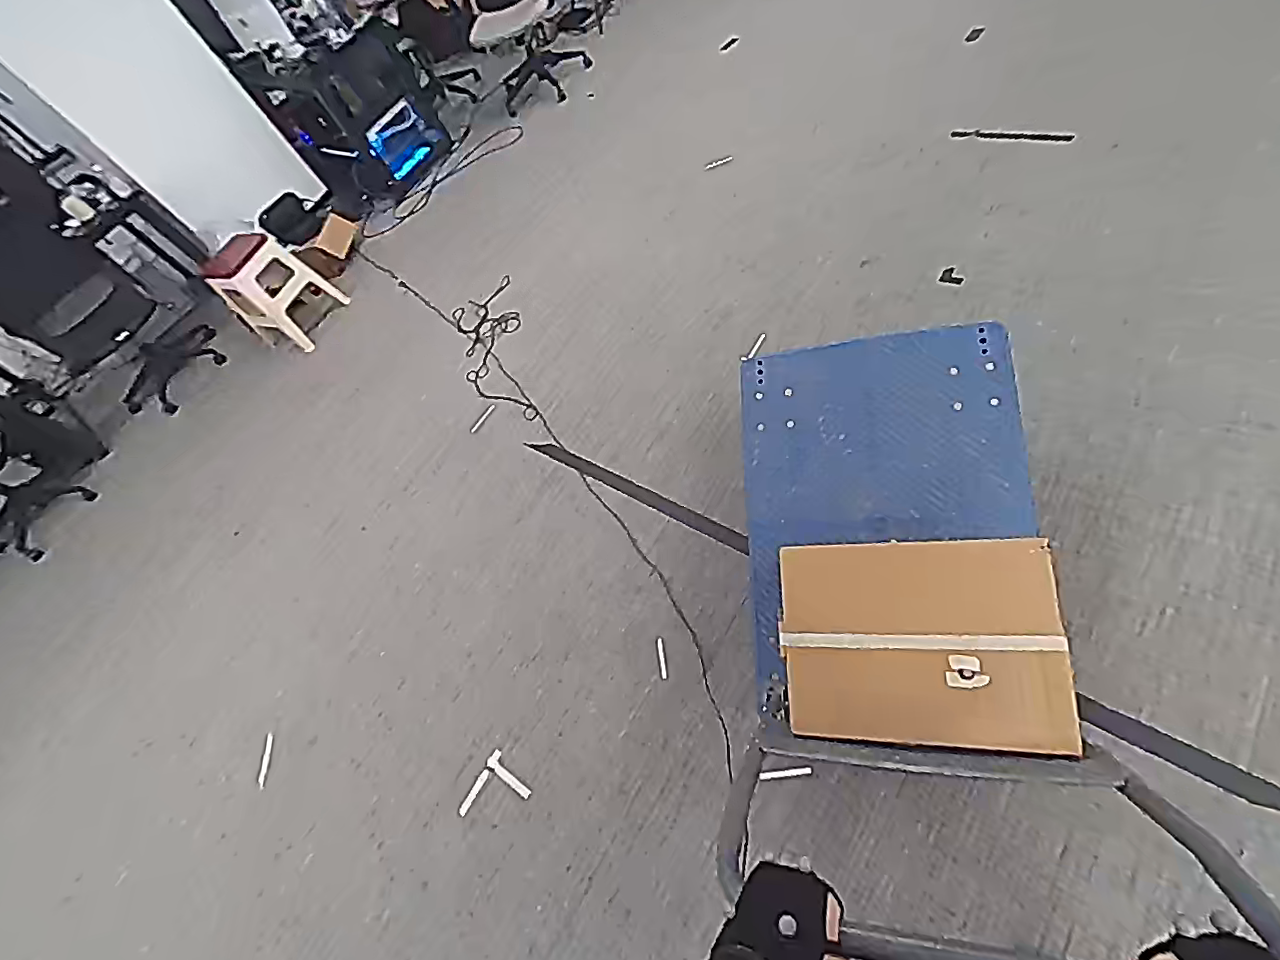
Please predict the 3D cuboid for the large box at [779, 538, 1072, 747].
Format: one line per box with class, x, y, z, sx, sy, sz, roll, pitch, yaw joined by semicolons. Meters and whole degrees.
large box;0.489;0.287;1.018;0.408;0.320;0.320;-5;79;19
